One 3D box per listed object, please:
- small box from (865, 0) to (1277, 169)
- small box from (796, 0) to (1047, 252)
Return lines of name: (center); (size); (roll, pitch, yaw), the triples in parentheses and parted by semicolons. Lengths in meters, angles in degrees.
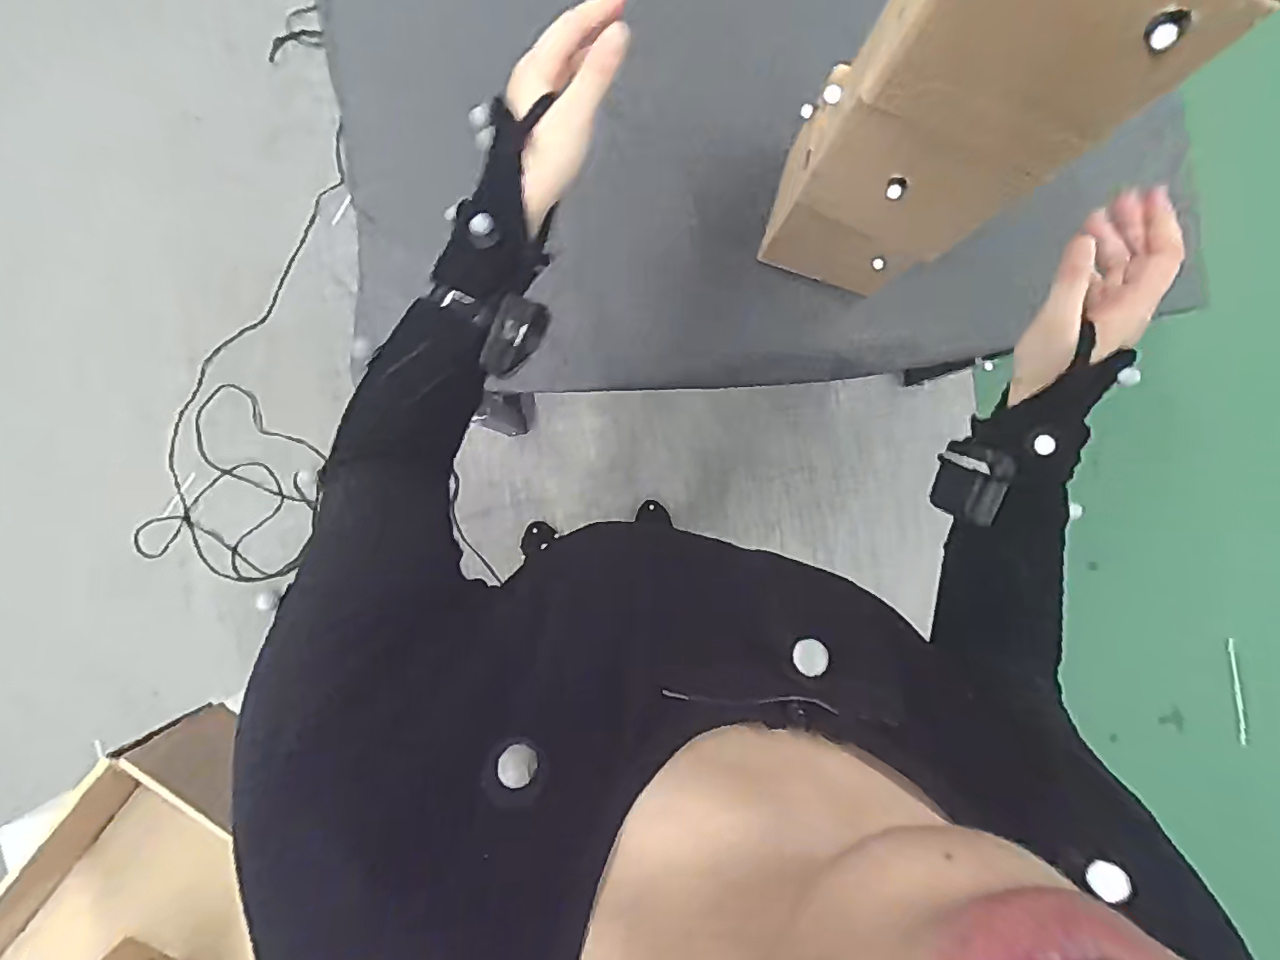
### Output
small box: (0.287, -0.354, 0.366); (0.179, 0.176, 0.168); (22, 88, -2)
small box: (0.284, -0.353, 0.529); (0.179, 0.176, 0.168); (24, 88, -2)
